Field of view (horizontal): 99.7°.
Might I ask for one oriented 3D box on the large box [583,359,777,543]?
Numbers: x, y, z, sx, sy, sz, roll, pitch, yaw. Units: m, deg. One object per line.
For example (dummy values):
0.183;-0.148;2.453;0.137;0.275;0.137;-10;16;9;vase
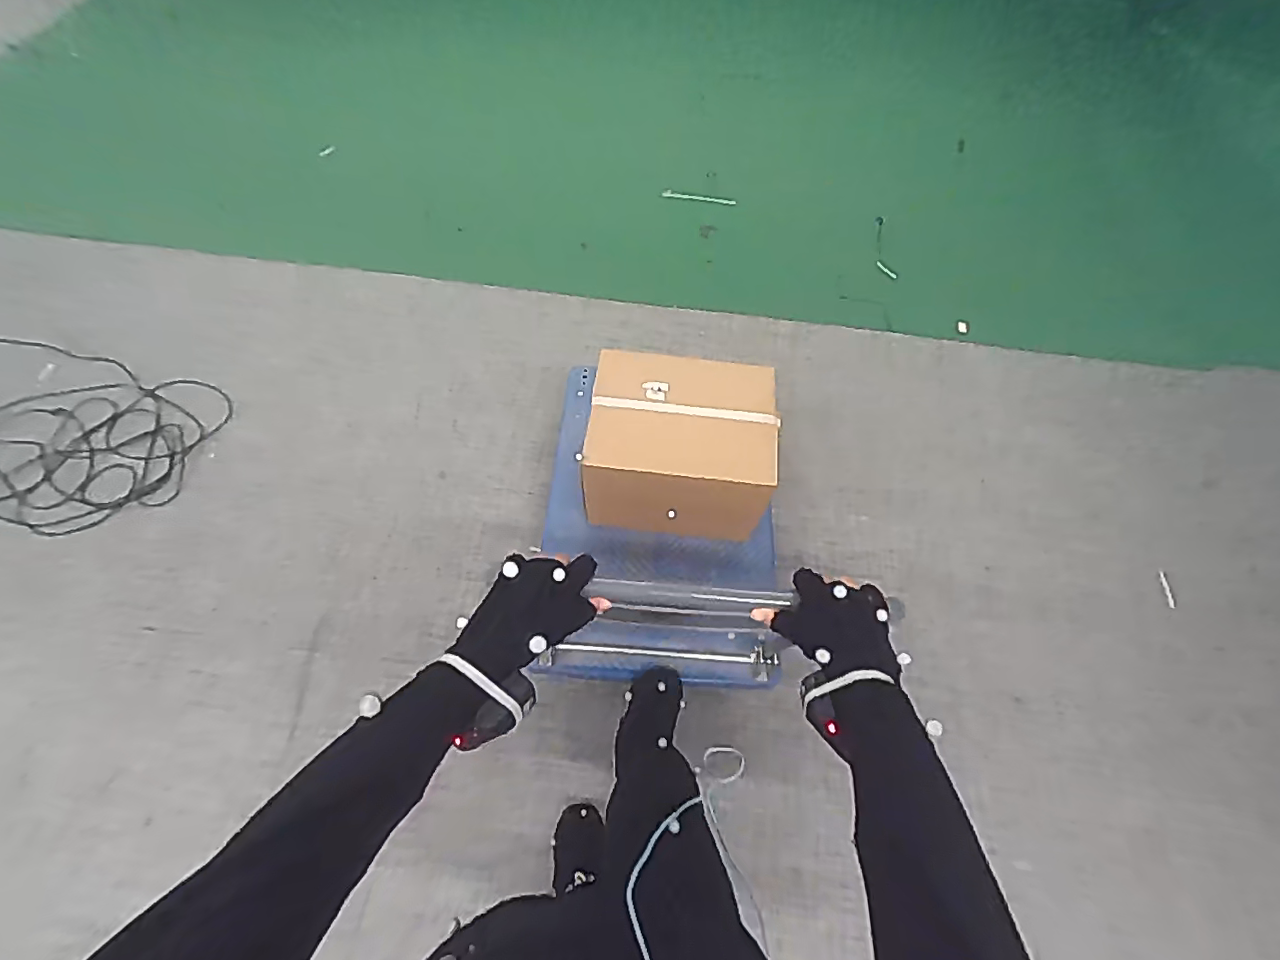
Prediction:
0.091;-0.058;1.297;0.408;0.320;0.320;6;61;2;large box
